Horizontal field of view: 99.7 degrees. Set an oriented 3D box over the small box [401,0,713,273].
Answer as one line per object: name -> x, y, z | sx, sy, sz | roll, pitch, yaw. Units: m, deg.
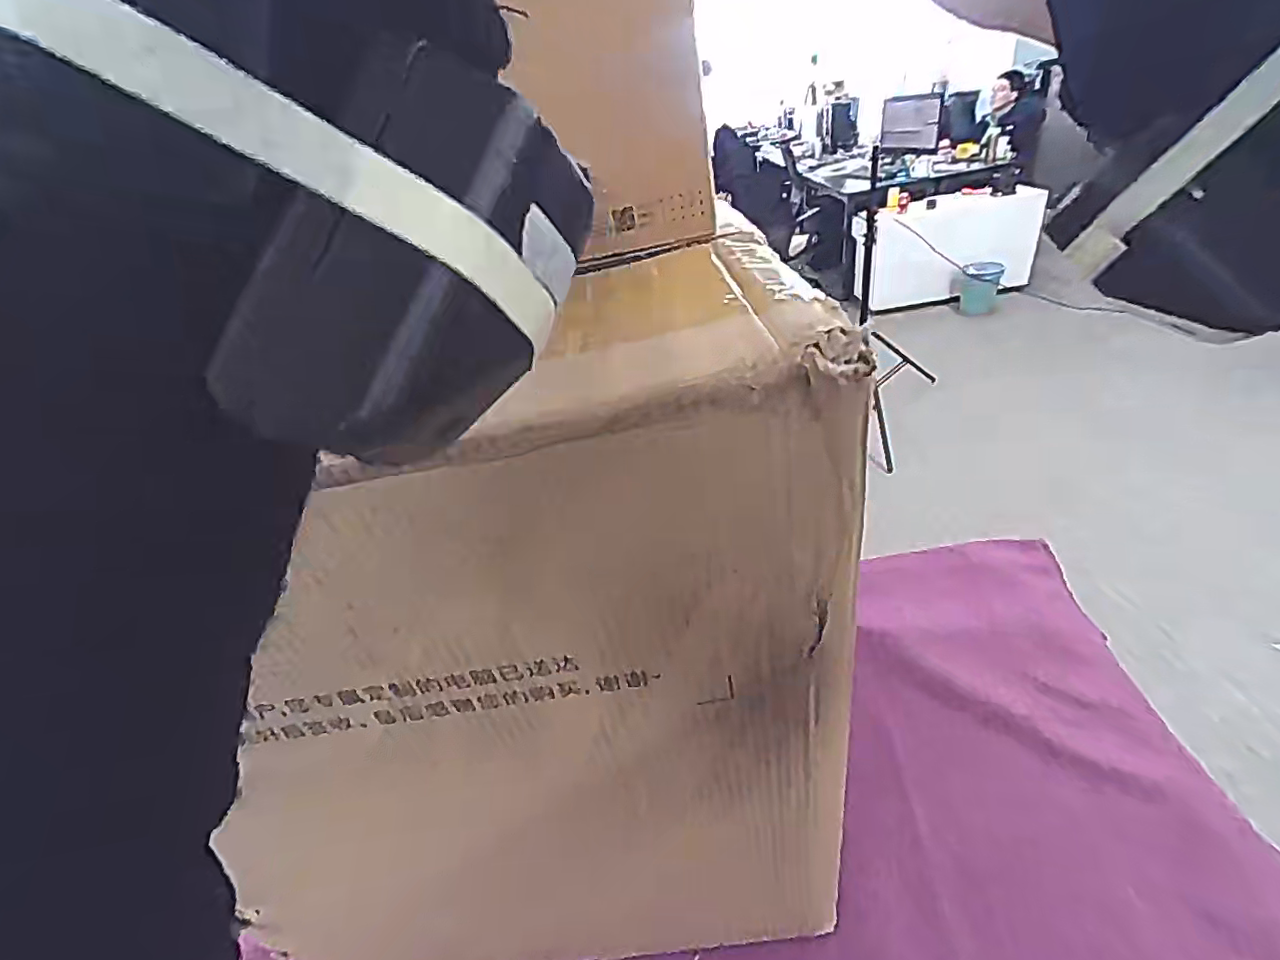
small box -> -0.043, -0.267, 0.401 | 0.168, 0.176, 0.179 | -9, 34, 6
